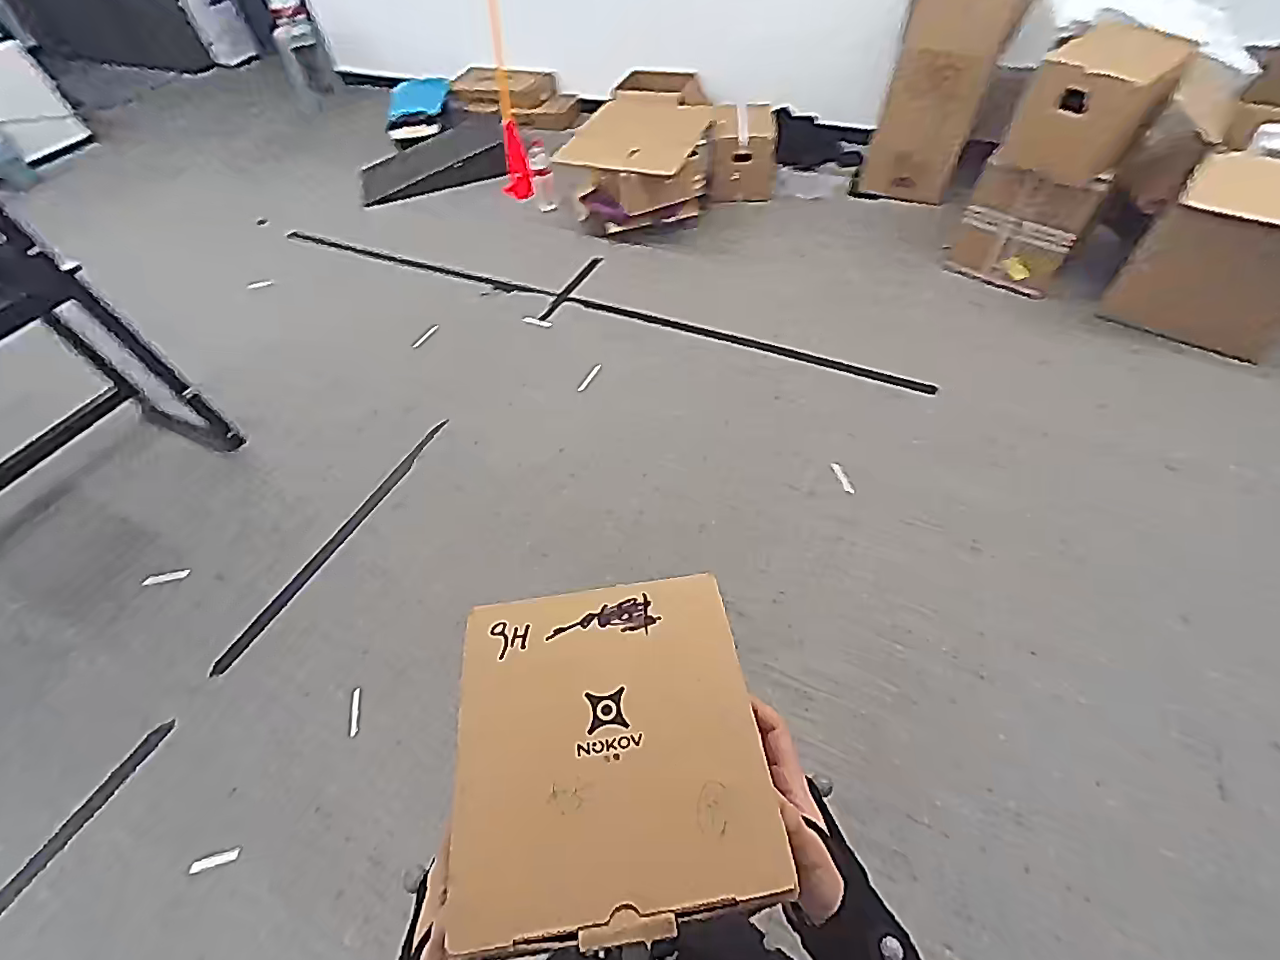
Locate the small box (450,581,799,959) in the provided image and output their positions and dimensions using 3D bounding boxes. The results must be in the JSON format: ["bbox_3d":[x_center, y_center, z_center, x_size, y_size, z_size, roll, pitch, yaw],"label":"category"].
[{"bbox_3d":[-0.014,0.193,0.358,0.168,0.176,0.179,-7,50,-5],"label":"small box"}]
